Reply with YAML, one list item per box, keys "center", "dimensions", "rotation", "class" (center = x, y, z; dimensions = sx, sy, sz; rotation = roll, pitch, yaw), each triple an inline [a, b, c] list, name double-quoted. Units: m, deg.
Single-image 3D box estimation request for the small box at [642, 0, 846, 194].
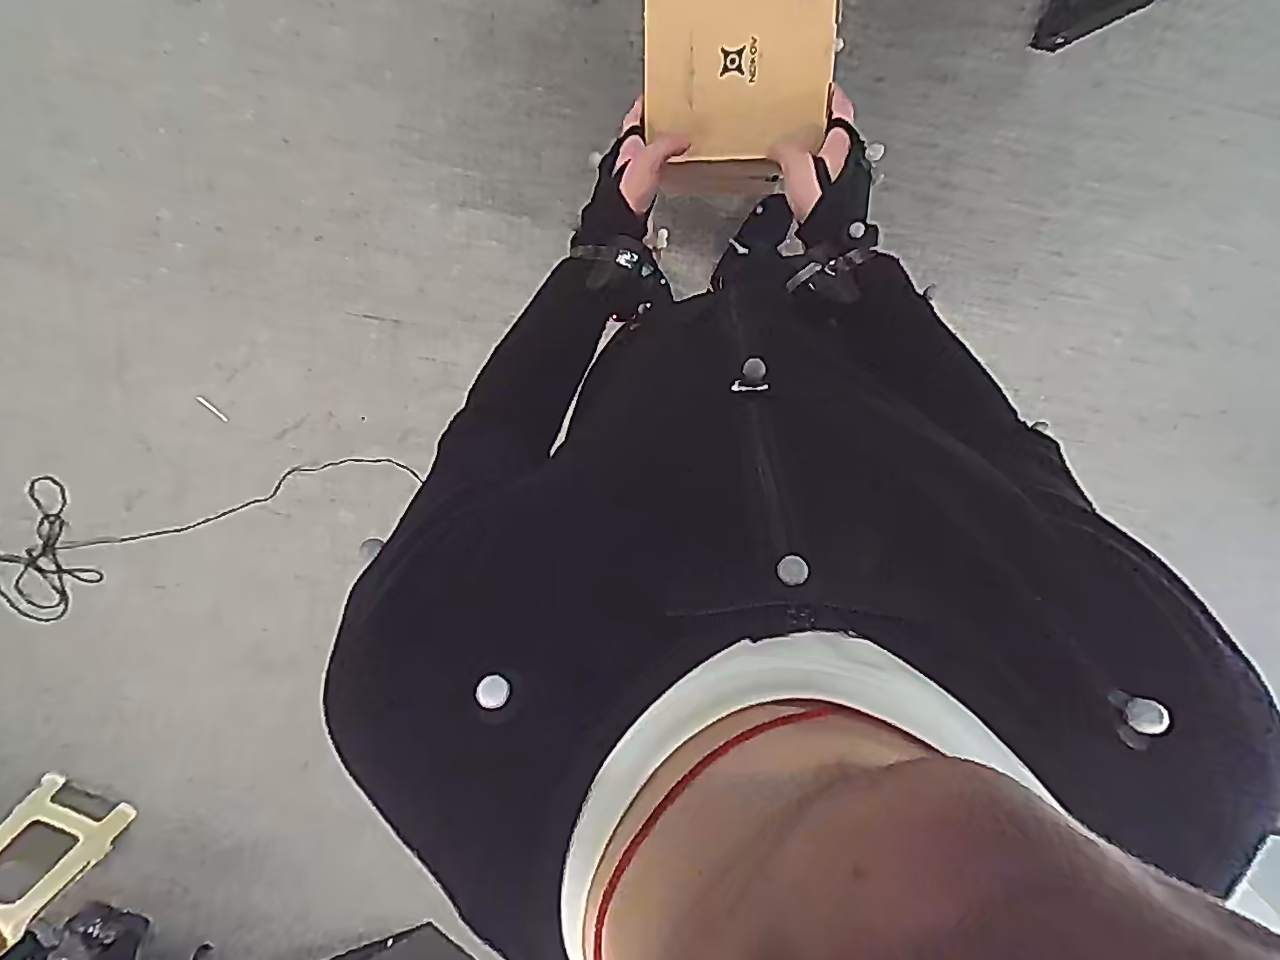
- center: [0.104, -0.408, 0.561]
  dimensions: [0.179, 0.176, 0.168]
  rotation: [5, 106, 9]
  class: "small box"
